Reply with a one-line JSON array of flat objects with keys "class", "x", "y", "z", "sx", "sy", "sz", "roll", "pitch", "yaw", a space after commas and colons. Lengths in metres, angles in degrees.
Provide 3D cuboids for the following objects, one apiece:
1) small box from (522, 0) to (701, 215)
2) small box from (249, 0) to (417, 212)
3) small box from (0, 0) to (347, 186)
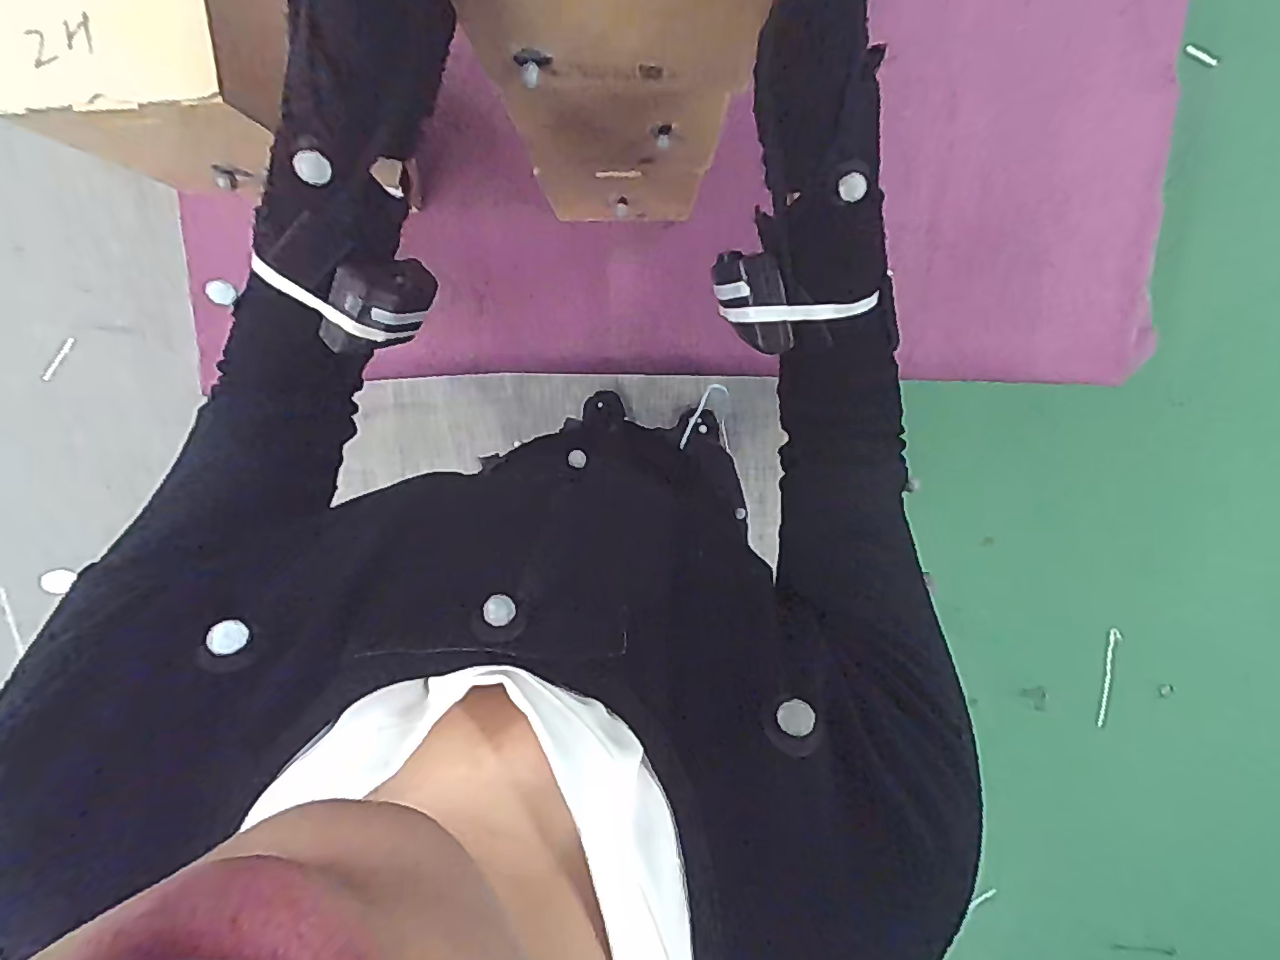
[{"class": "small box", "x": -0.022, "y": -0.398, "z": 0.581, "sx": 0.168, "sy": 0.176, "sz": 0.179, "roll": -3, "pitch": 100, "yaw": 2}, {"class": "small box", "x": -0.359, "y": -0.407, "z": 0.576, "sx": 0.168, "sy": 0.176, "sz": 0.179, "roll": -4, "pitch": 102, "yaw": 0}, {"class": "small box", "x": -0.358, "y": -0.352, "z": 0.420, "sx": 0.168, "sy": 0.176, "sz": 0.179, "roll": -2, "pitch": 102, "yaw": 0}]
